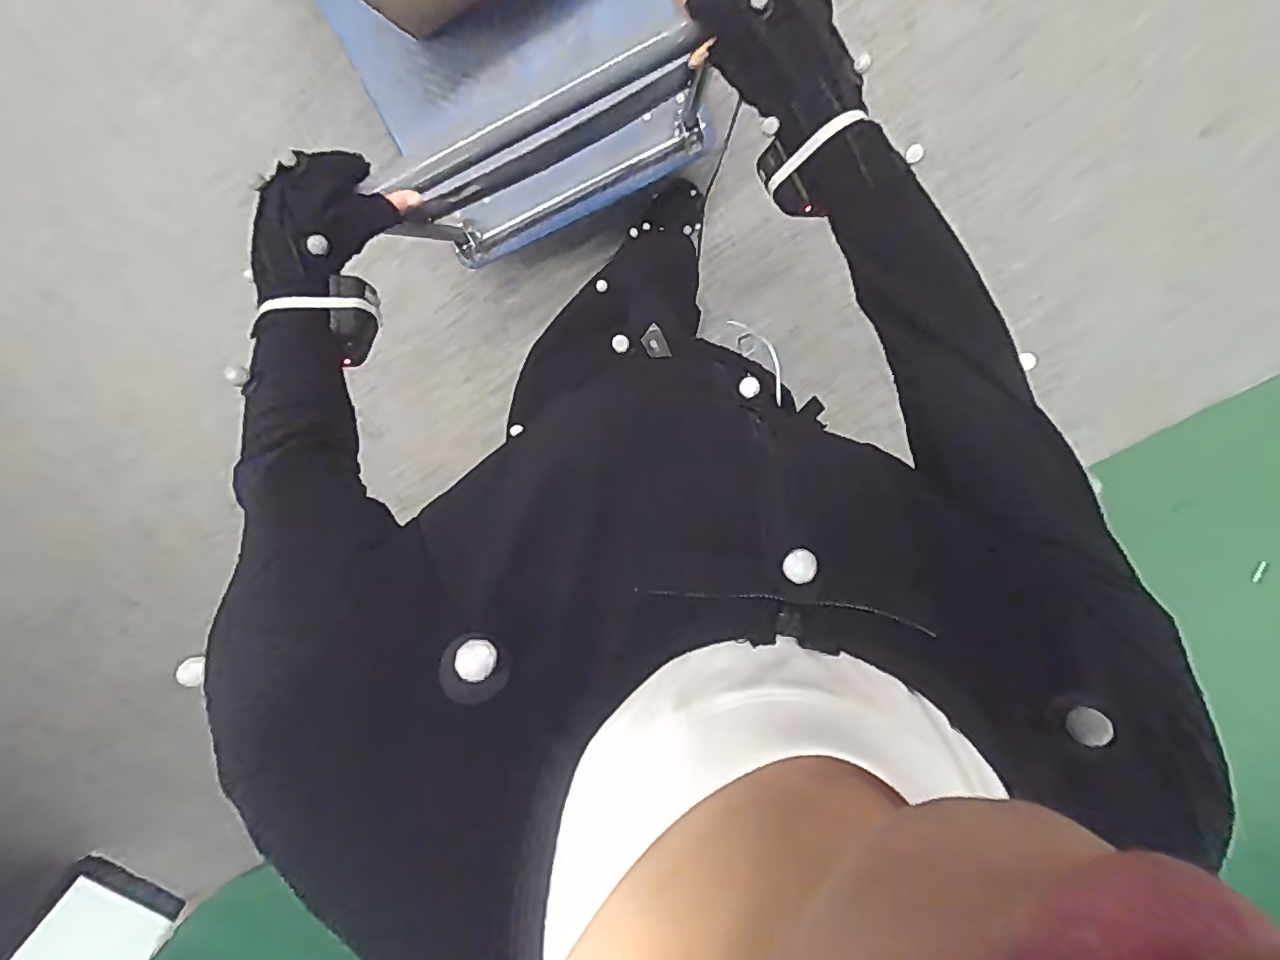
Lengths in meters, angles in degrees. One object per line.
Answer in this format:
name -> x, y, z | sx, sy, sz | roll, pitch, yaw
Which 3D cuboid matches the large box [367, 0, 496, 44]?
large box -> -0.273, -0.920, 0.751 | 0.408, 0.320, 0.320 | -24, 114, 12
